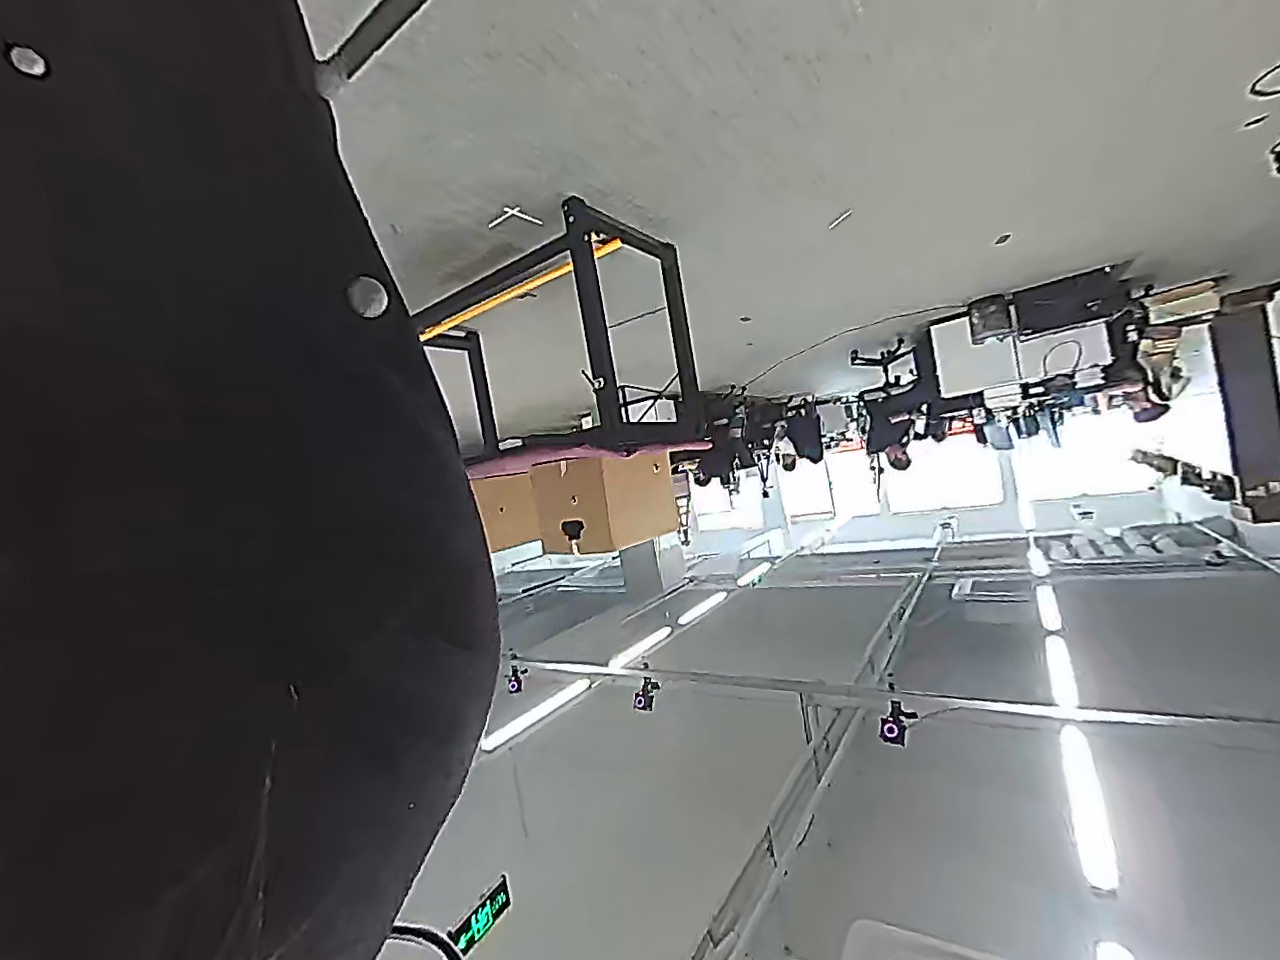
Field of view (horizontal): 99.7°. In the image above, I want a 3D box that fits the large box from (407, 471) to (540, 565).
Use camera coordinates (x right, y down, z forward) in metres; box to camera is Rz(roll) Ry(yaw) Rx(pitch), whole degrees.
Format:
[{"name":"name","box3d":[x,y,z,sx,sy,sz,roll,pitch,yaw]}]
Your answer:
[{"name":"large box","box3d":[-0.695,0.152,2.277,0.320,0.320,0.408,-9,-178,34]}]
